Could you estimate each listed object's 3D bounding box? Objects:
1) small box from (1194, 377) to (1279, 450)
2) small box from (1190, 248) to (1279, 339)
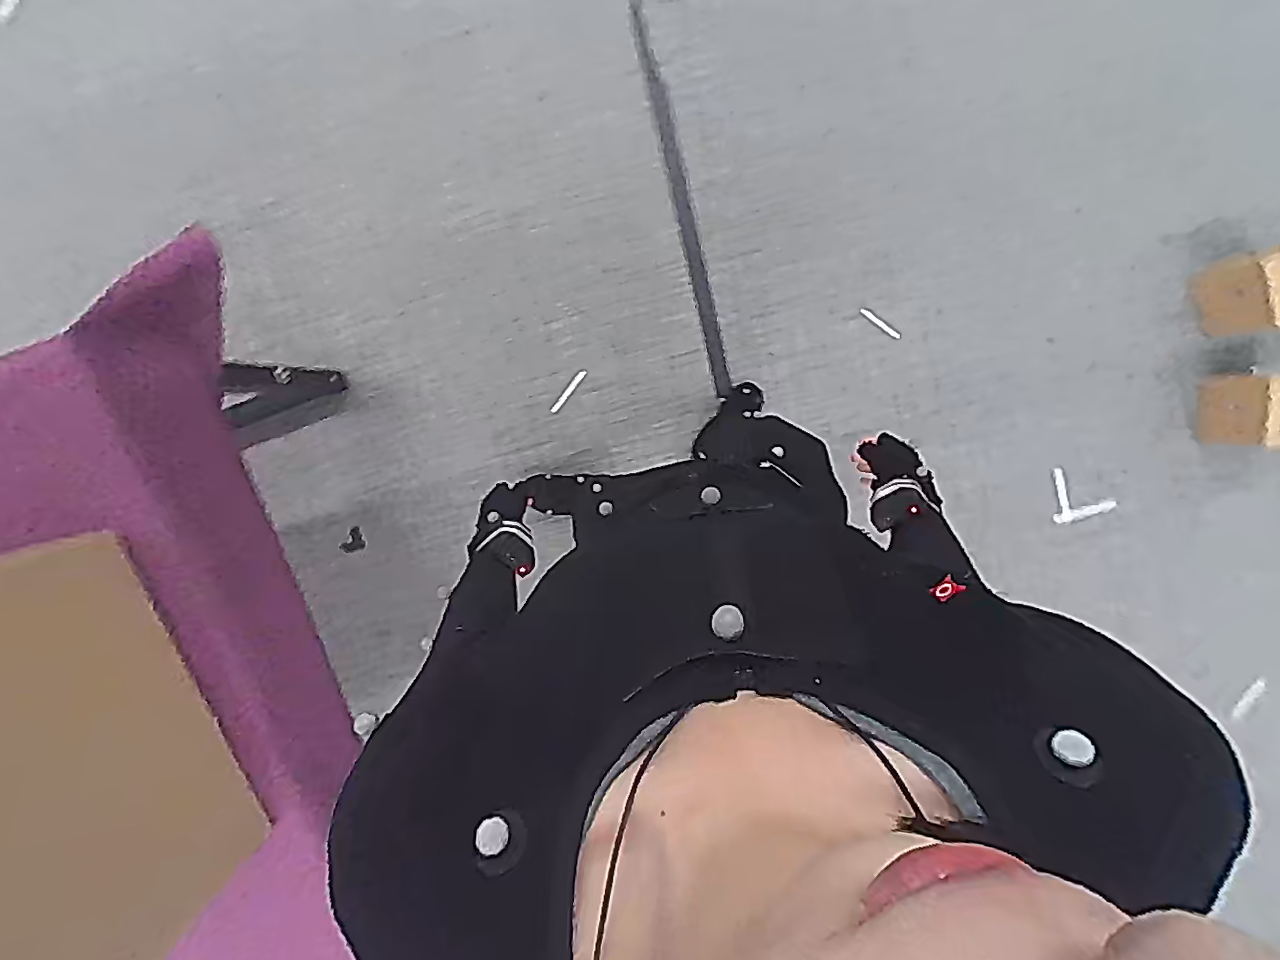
[{"bbox_3d":[1.603,-0.176,1.404,0.168,0.176,0.179,-4,98,0],"label":"small box"},{"bbox_3d":[1.555,-0.472,1.361,0.168,0.176,0.179,-22,97,4],"label":"small box"}]
